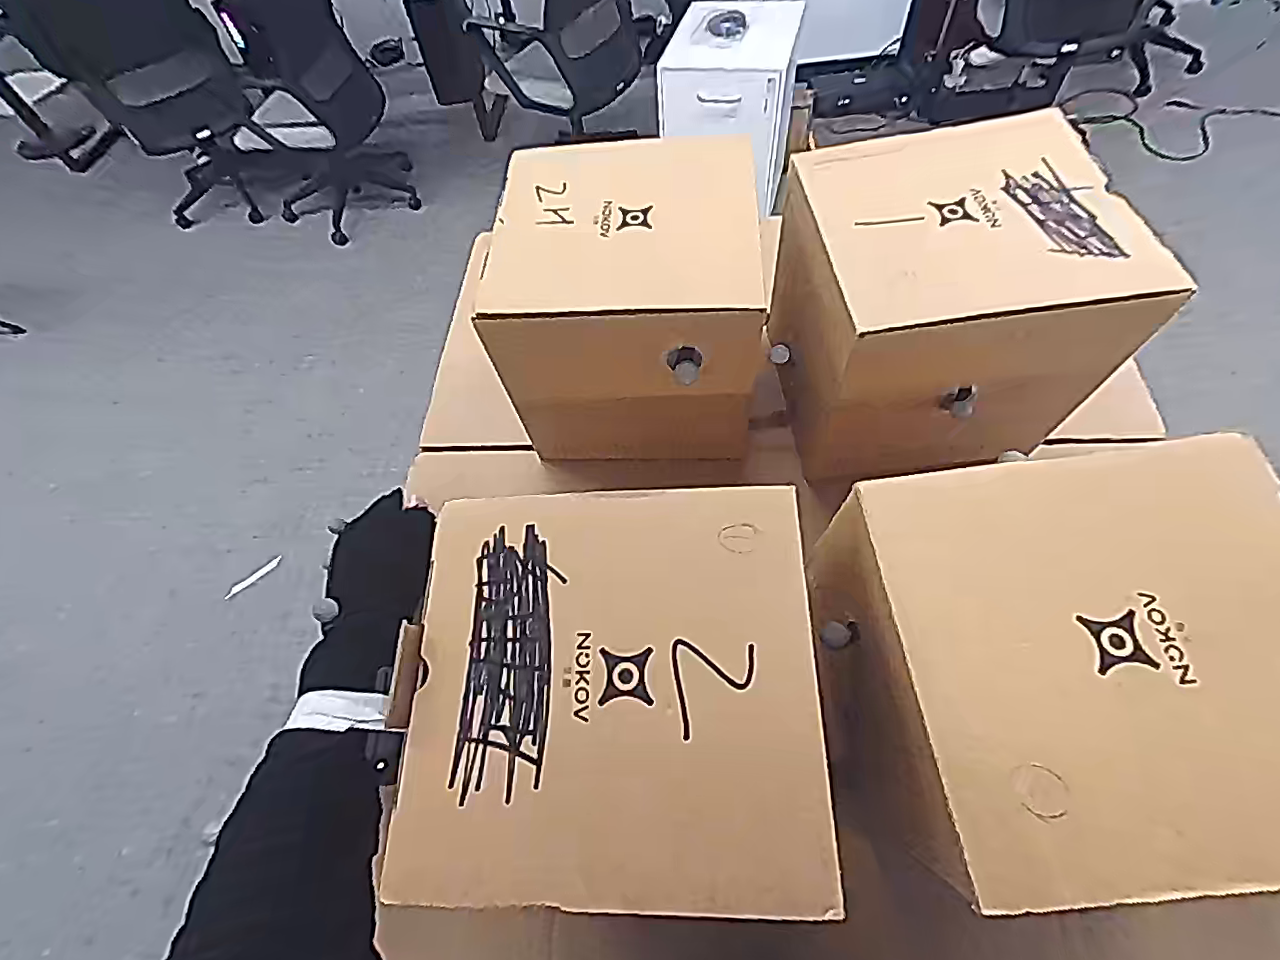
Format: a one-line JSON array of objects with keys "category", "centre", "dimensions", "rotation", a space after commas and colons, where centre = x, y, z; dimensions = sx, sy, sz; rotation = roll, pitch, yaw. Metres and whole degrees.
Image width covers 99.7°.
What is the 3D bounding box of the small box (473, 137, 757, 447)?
[{"category": "small box", "centre": [-0.005, -0.137, 0.431], "dimensions": [0.179, 0.176, 0.168], "rotation": [1, 62, 7]}]
